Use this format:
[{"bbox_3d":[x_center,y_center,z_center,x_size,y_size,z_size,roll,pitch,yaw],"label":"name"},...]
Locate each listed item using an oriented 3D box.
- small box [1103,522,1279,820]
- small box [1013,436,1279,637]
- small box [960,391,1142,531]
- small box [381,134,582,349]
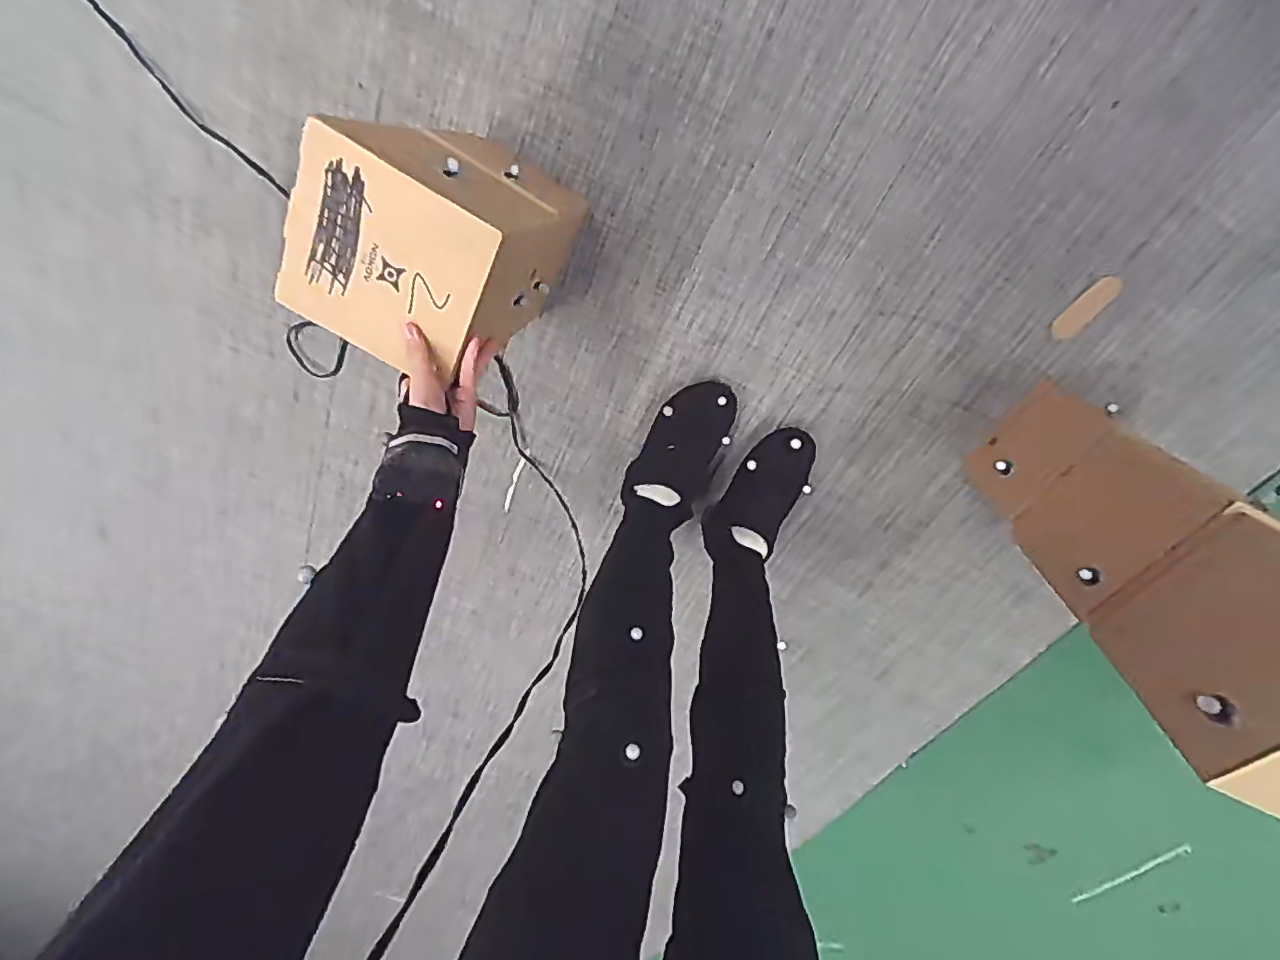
[{"bbox_3d":[0.564,0.171,0.469,0.168,0.176,0.179,25,120,-7],"label":"small box"},{"bbox_3d":[0.574,0.078,0.606,0.168,0.176,0.179,25,120,-6],"label":"small box"},{"bbox_3d":[0.590,-0.003,0.745,0.179,0.176,0.168,27,119,-8],"label":"small box"},{"bbox_3d":[-0.190,-0.301,0.687,0.168,0.176,0.179,29,119,-9],"label":"small box"}]
